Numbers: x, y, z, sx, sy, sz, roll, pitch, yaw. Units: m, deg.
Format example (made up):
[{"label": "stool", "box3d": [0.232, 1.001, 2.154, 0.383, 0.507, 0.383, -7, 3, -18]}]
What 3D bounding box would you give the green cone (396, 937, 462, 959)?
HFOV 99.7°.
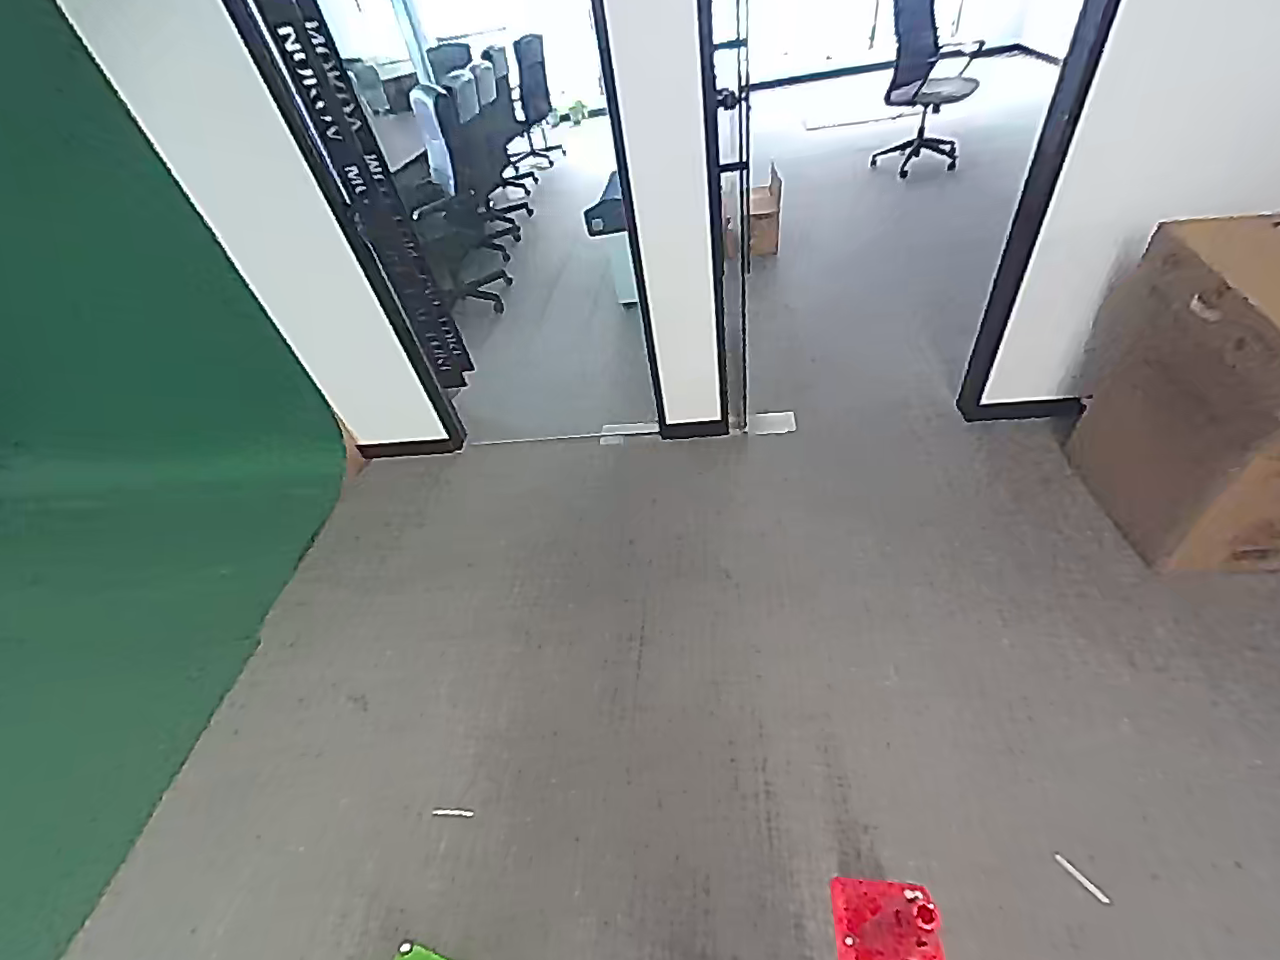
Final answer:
[{"label": "green cone", "box3d": [-0.482, 0.974, 0.997, 0.202, 0.368, 0.200, 7, 46, 19]}]
